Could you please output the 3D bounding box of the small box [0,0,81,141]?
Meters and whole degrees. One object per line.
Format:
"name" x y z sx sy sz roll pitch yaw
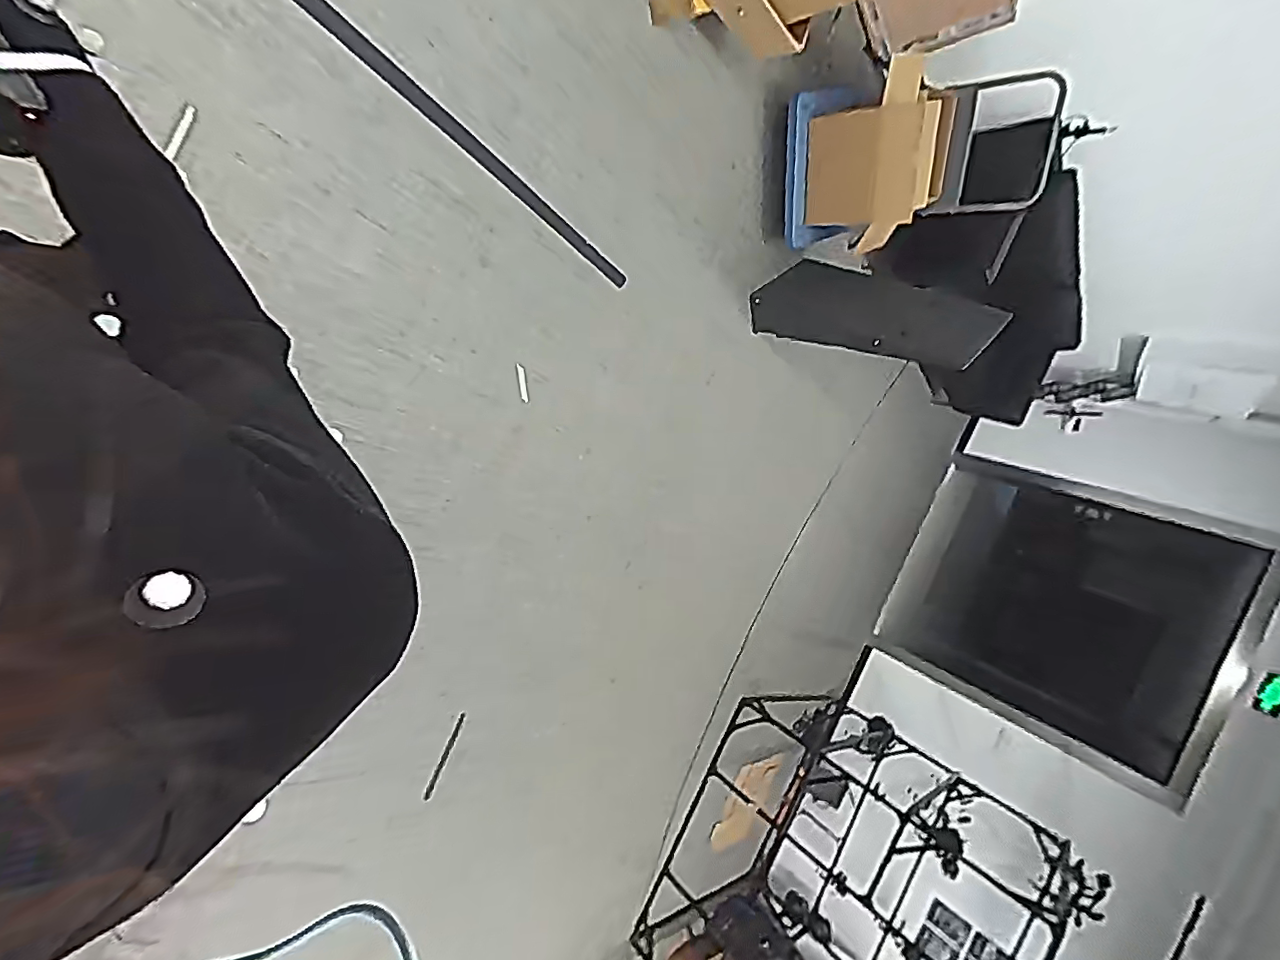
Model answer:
"small box" -1.069 -0.699 0.898 0.168 0.176 0.179 20 93 -49
